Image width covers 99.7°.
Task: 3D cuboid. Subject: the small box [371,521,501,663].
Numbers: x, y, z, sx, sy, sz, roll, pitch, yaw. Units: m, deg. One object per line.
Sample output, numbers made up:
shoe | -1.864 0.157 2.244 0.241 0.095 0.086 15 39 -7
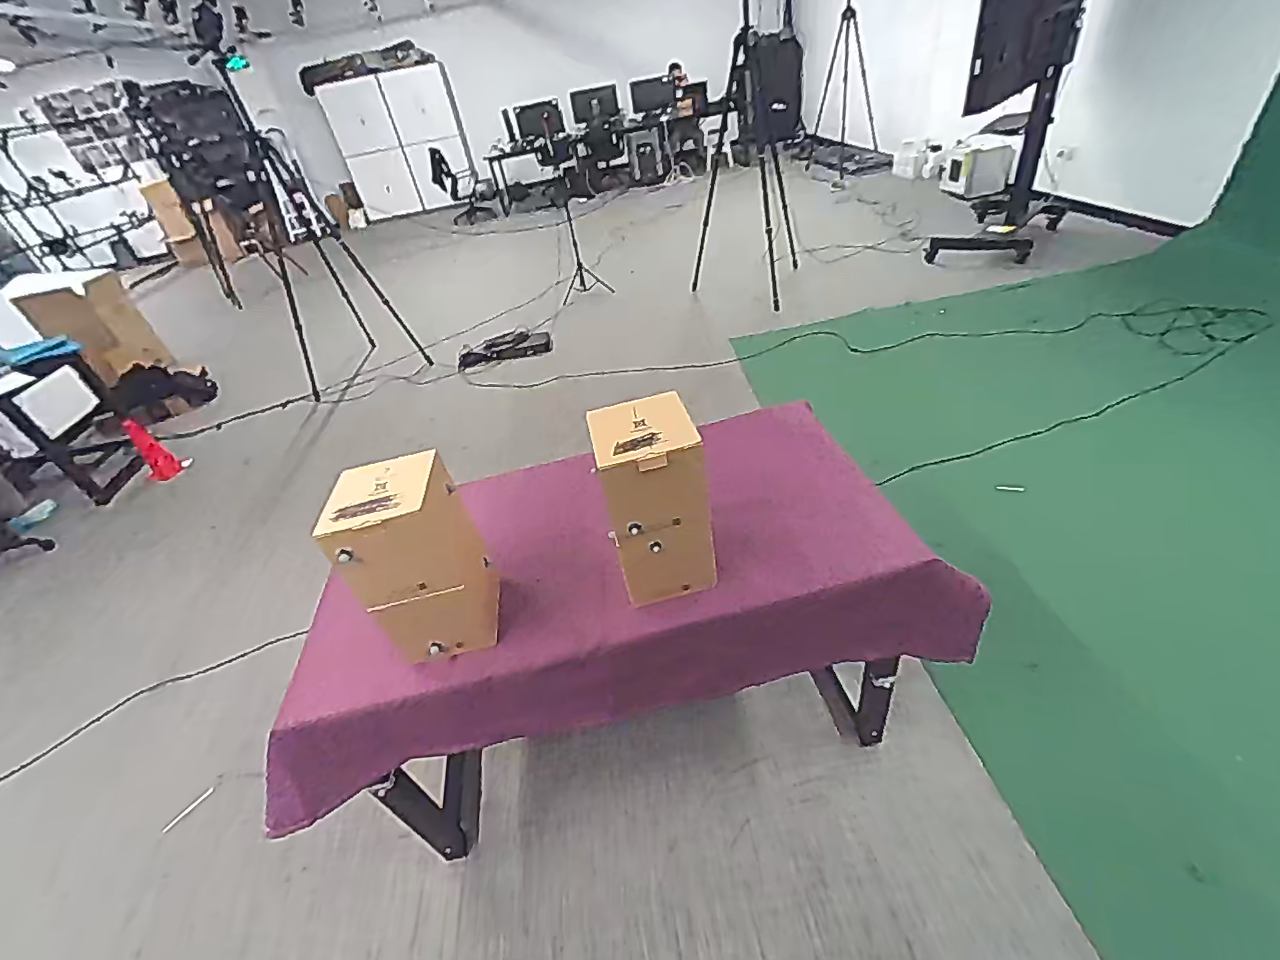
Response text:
small box | -0.366 0.209 1.010 0.168 0.176 0.179 -14 39 -1

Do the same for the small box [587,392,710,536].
small box | 0.015 -0.022 0.927 0.168 0.176 0.179 -14 38 -3

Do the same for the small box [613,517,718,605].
small box | 0.042 0.106 1.028 0.168 0.176 0.179 -15 37 -1
